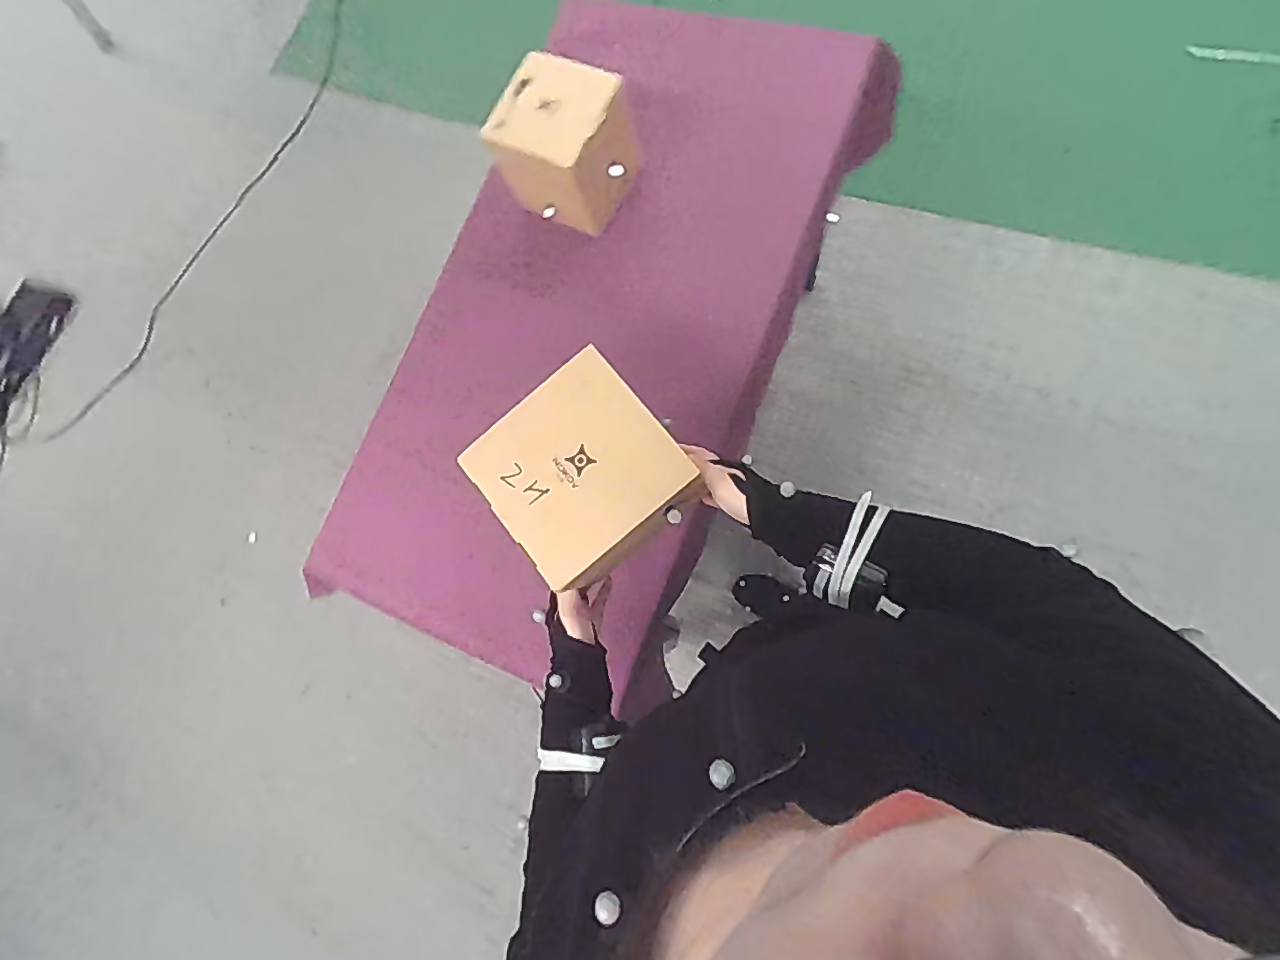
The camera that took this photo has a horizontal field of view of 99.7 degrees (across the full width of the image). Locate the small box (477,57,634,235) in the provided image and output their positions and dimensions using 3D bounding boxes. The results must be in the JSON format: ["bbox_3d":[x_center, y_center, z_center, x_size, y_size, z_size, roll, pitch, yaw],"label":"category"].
[{"bbox_3d":[-0.129,-0.547,0.907,0.179,0.176,0.168,28,85,15],"label":"small box"}]

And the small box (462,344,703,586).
[{"bbox_3d":[-0.047,-0.007,0.581,0.179,0.176,0.168,-39,77,3],"label":"small box"}]
